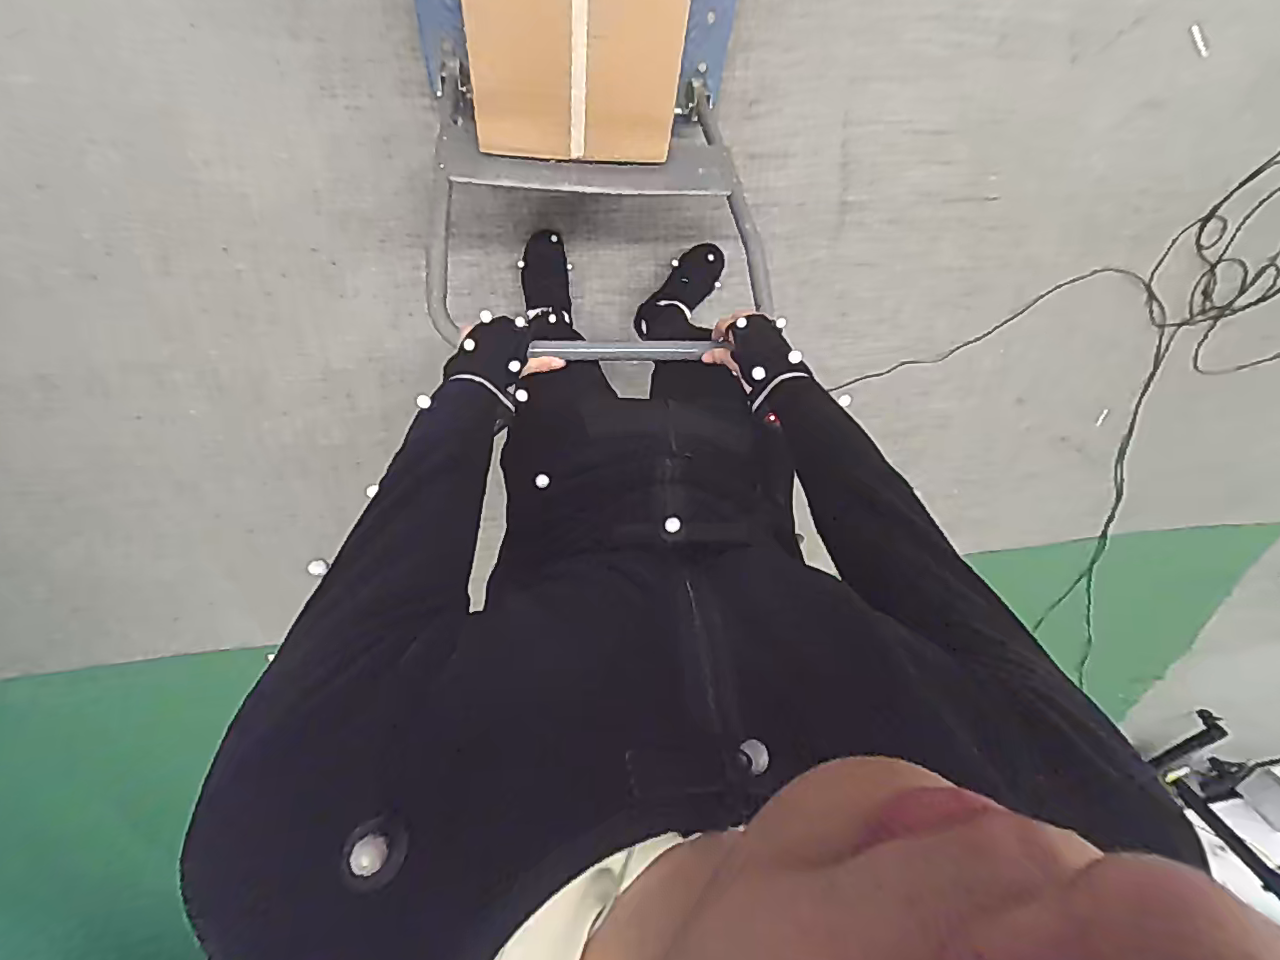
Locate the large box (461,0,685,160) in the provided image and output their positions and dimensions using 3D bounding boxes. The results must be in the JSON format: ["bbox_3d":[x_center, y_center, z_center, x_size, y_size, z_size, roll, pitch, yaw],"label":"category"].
[{"bbox_3d":[-0.106,-0.778,0.834,0.320,0.320,0.408,-3,145,-10],"label":"large box"}]
